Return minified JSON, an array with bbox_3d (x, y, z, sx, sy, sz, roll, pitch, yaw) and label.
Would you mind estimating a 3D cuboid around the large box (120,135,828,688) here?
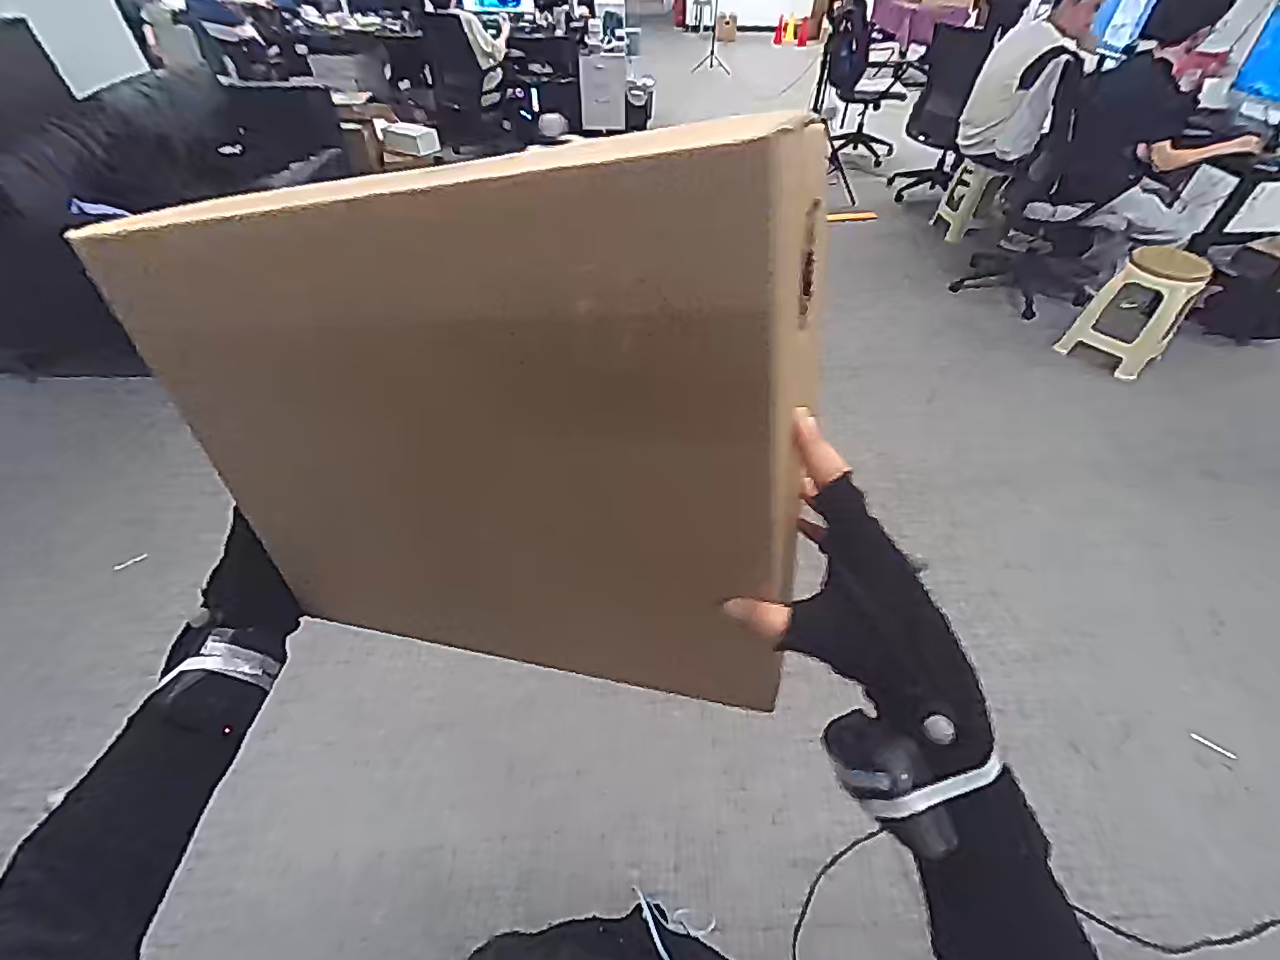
[{"bbox_3d":[-0.069,-0.079,0.458,0.408,0.320,0.320,5,35,20],"label":"large box"}]
